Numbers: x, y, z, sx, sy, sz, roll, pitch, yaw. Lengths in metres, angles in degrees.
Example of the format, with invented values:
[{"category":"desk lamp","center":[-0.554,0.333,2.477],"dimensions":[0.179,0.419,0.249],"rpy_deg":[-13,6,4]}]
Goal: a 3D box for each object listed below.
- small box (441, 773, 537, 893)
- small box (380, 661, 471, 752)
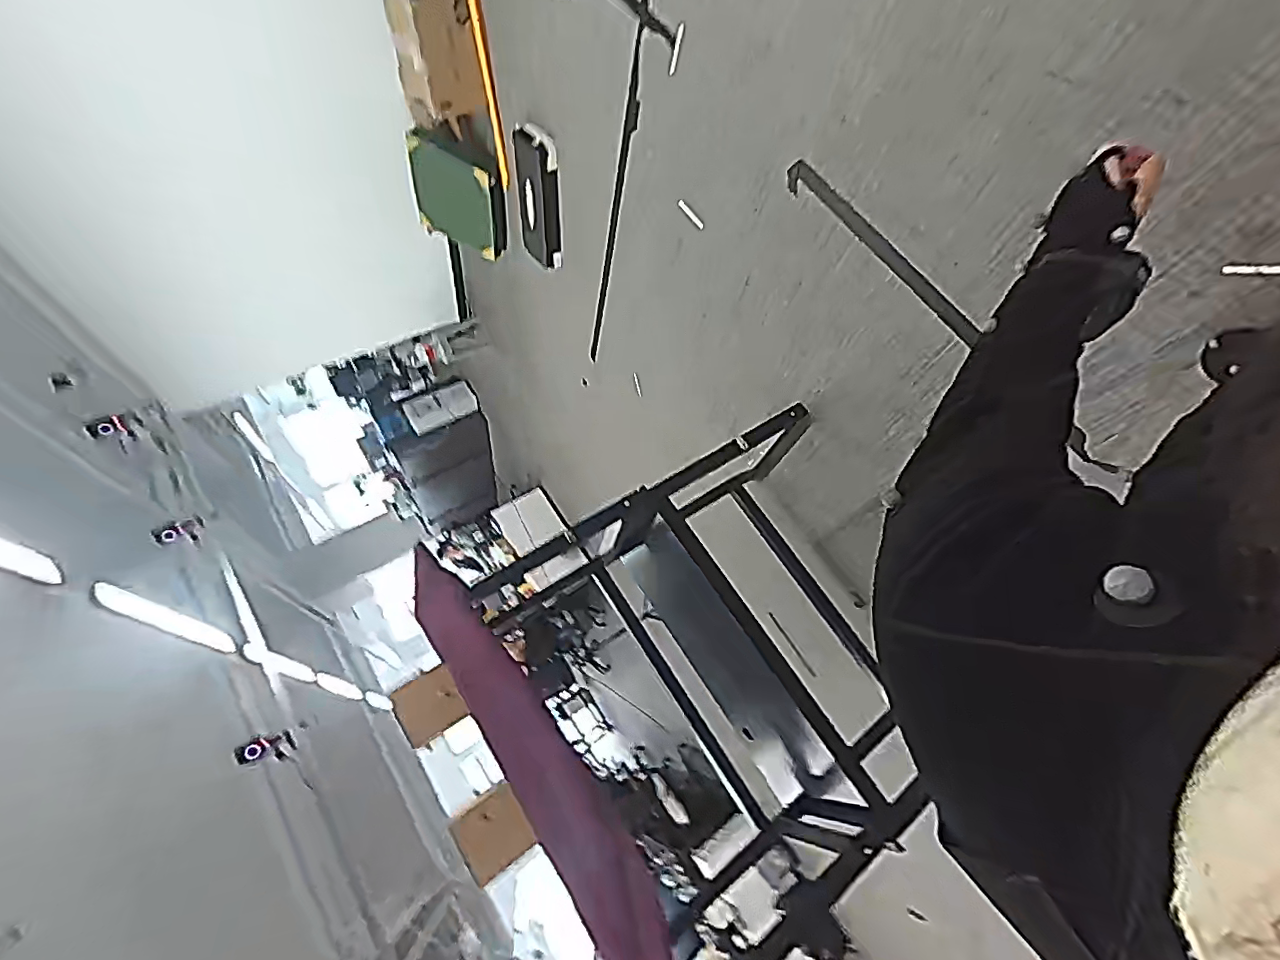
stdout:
[{"category":"small box","center":[-0.382,0.880,1.370],"dimensions":[0.179,0.176,0.168],"rpy_deg":[57,157,10]},{"category":"small box","center":[-0.586,0.620,1.498],"dimensions":[0.179,0.176,0.168],"rpy_deg":[56,157,14]}]
